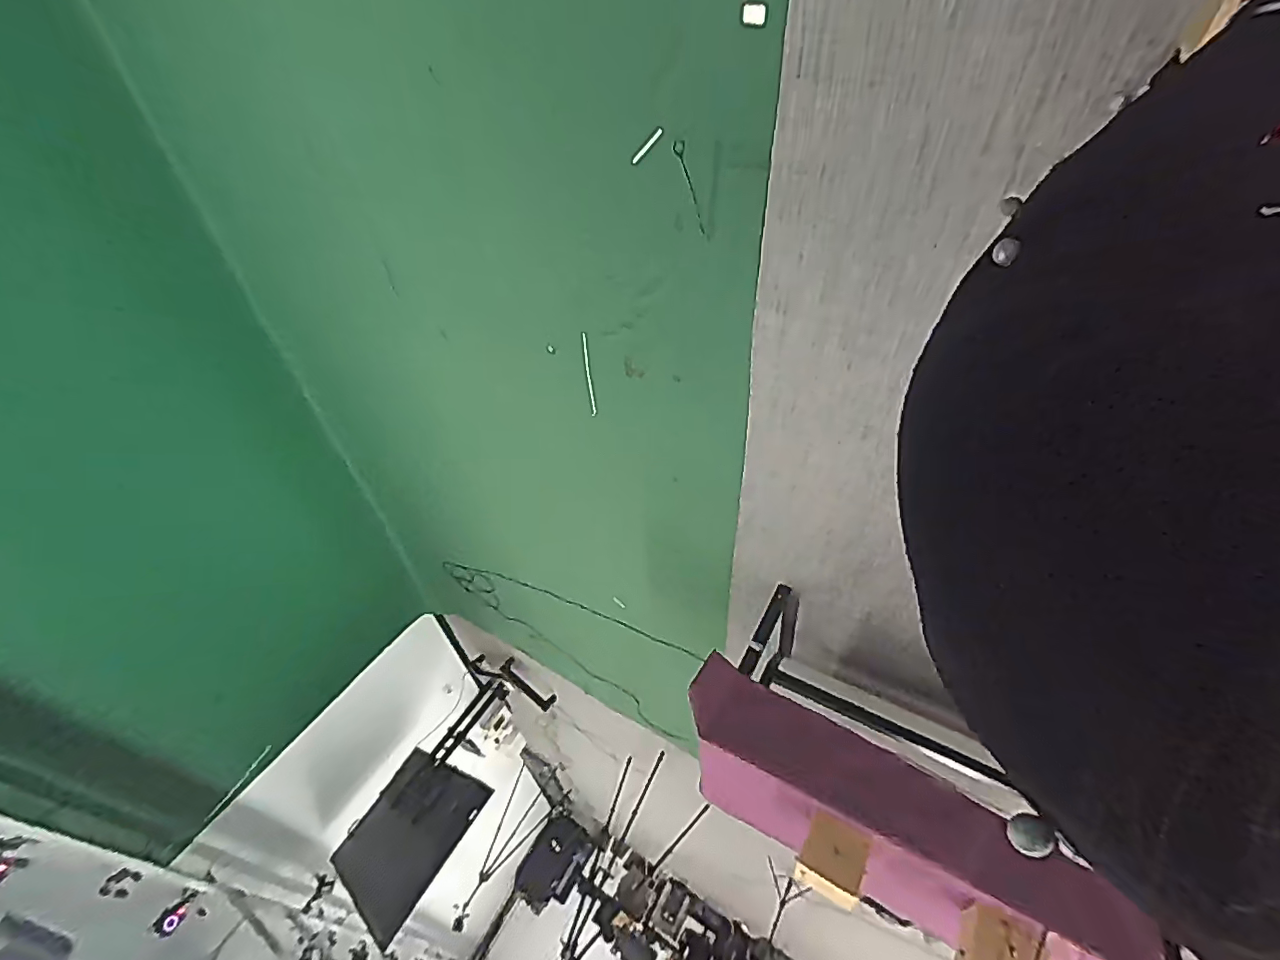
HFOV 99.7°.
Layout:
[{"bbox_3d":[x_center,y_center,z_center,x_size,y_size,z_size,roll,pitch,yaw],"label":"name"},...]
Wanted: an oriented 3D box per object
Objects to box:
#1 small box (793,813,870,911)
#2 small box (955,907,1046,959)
[{"bbox_3d":[0.583,1.158,1.646,0.179,0.176,0.168,17,138,27],"label":"small box"},{"bbox_3d":[0.962,1.294,1.450,0.168,0.176,0.179,20,139,27],"label":"small box"}]
